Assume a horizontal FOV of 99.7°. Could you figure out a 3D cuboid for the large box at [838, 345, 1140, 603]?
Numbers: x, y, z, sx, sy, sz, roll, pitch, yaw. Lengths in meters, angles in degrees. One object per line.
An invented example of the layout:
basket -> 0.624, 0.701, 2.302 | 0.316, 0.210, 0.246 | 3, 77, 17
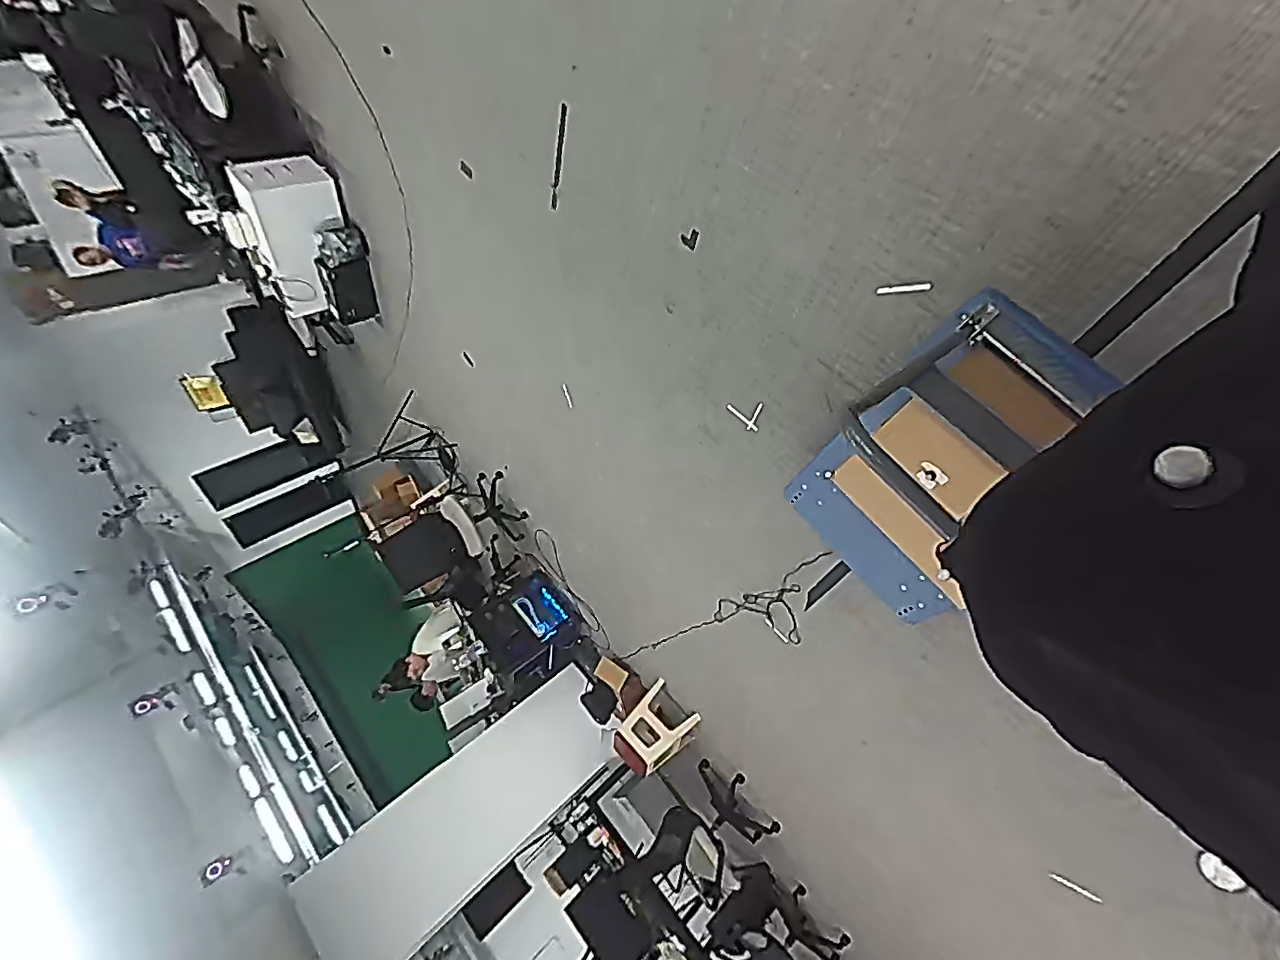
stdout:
large box -> 0.739, -0.017, 1.181 | 0.408, 0.320, 0.320 | 49, 146, 15
